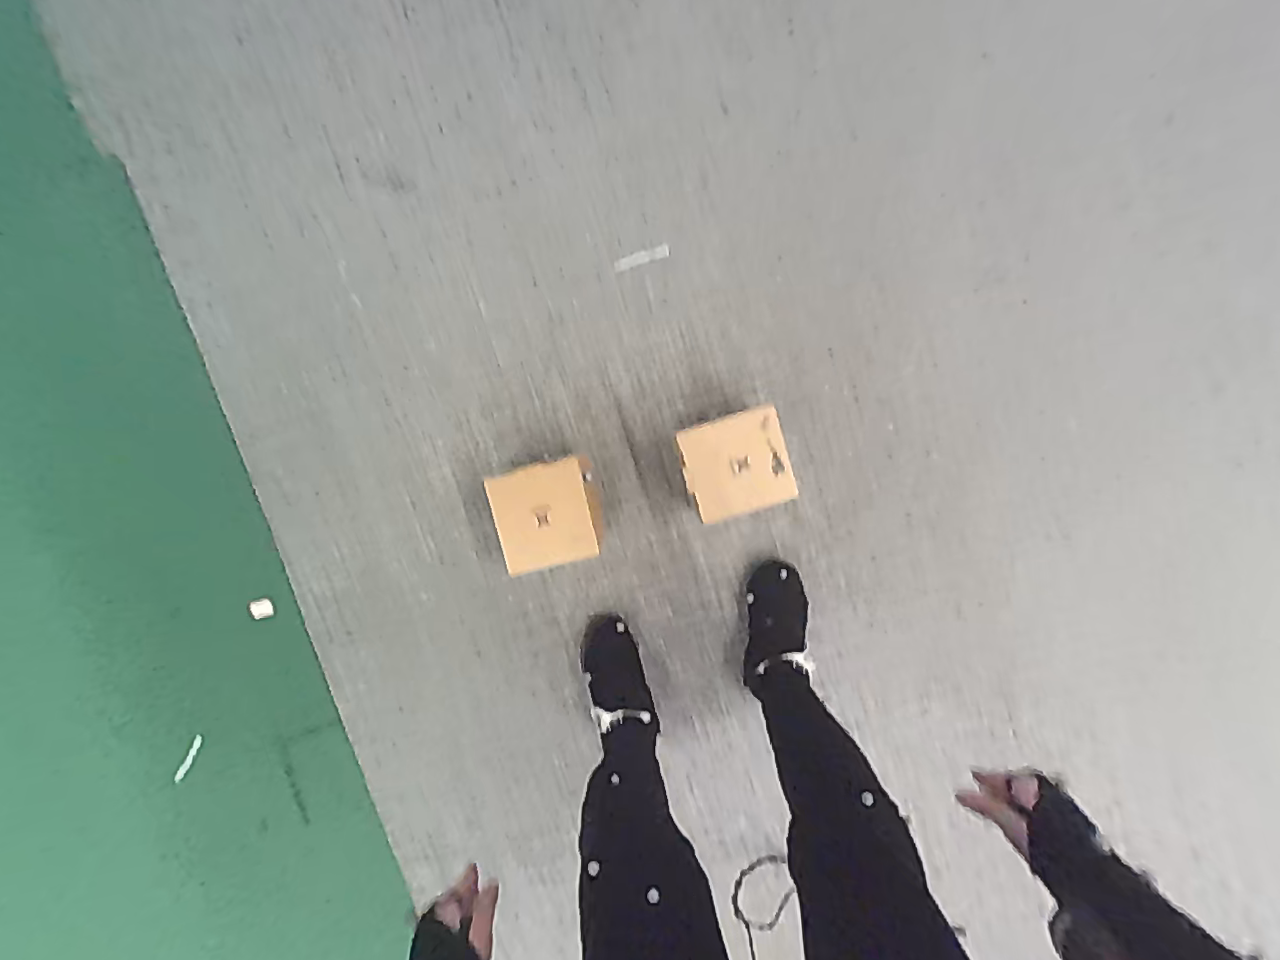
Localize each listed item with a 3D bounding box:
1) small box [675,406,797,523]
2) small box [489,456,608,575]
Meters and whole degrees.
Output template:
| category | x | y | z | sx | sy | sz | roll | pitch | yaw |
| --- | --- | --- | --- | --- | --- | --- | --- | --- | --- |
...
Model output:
| category | x | y | z | sx | sy | sz | roll | pitch | yaw |
| --- | --- | --- | --- | --- | --- | --- | --- | --- | --- |
| small box | 0.169 | -0.032 | 1.004 | 0.179 | 0.176 | 0.168 | -17 | 95 | 3 |
| small box | -0.162 | 0.058 | 1.019 | 0.168 | 0.176 | 0.179 | -14 | 94 | 2 |
